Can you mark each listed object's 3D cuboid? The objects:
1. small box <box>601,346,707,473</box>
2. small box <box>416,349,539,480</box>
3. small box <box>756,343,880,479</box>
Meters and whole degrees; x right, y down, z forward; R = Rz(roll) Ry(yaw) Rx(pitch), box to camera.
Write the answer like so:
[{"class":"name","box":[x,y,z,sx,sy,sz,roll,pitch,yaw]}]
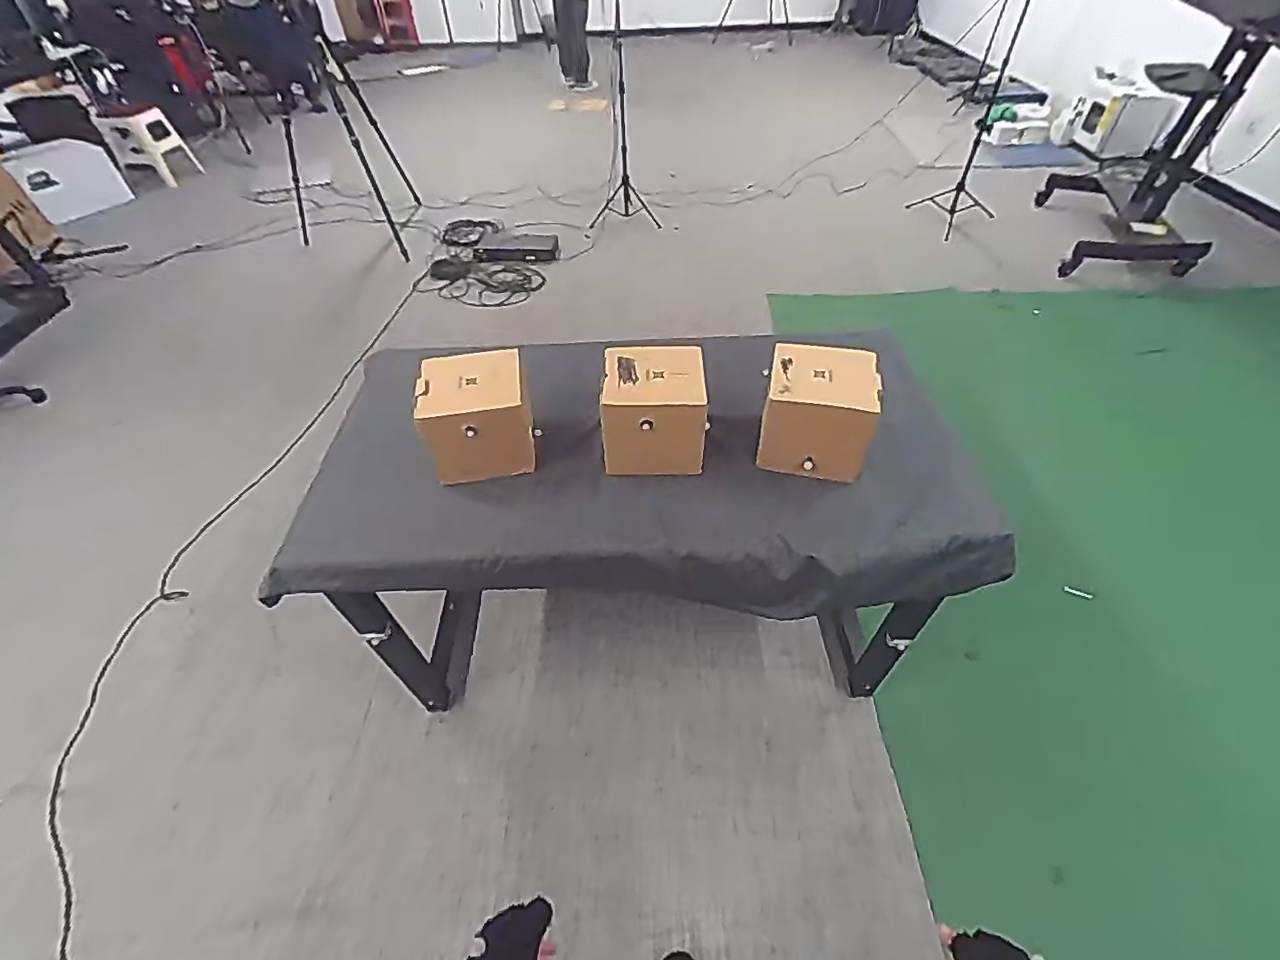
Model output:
[{"class":"small box","box":[0.027,-0.126,0.988,0.179,0.176,0.168,0,48,1]},{"class":"small box","box":[-0.289,-0.116,0.993,0.179,0.176,0.168,-8,50,-7]},{"class":"small box","box":[0.315,-0.121,0.973,0.179,0.176,0.168,9,49,10]}]
